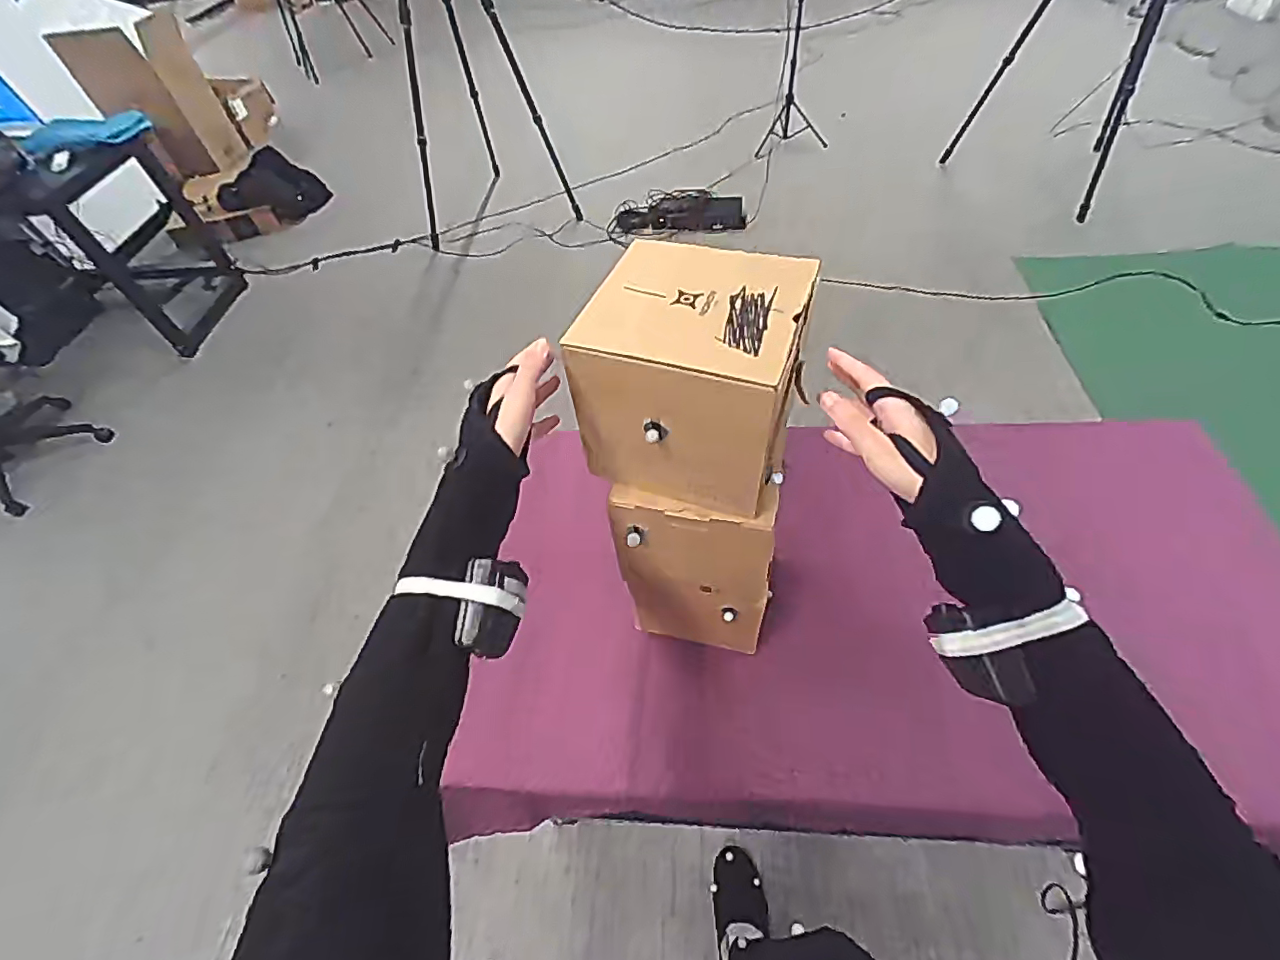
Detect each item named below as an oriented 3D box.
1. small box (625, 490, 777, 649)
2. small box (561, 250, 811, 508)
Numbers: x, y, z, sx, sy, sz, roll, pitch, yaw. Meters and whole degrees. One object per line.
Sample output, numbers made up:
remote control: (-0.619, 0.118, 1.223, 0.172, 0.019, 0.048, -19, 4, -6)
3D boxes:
small box: (0.089, 0.122, 0.768, 0.179, 0.176, 0.168, 9, 53, 12)
small box: (0.051, -0.094, 0.523, 0.179, 0.176, 0.168, 13, 53, 17)
